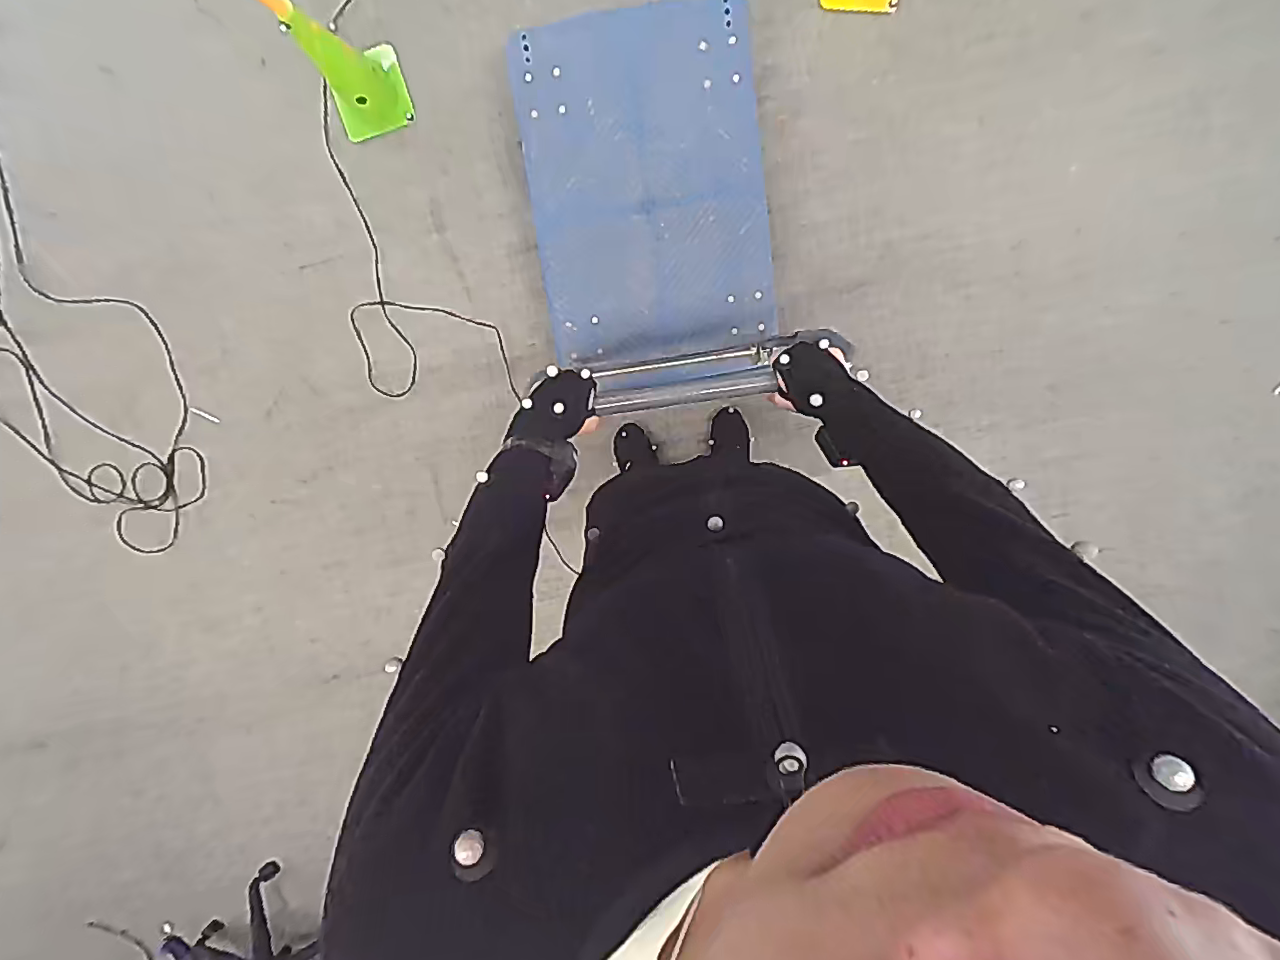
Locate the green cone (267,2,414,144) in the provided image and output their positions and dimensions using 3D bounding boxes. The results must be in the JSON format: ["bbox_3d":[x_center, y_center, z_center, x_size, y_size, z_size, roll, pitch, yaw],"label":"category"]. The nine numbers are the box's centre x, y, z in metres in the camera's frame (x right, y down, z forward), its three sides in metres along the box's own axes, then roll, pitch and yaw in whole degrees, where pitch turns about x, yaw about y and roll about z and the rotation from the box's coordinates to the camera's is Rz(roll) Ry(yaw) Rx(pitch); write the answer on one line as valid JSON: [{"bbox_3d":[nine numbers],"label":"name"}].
[{"bbox_3d":[-0.741,-1.011,1.297,0.202,0.368,0.200,-16,99,7],"label":"green cone"}]
